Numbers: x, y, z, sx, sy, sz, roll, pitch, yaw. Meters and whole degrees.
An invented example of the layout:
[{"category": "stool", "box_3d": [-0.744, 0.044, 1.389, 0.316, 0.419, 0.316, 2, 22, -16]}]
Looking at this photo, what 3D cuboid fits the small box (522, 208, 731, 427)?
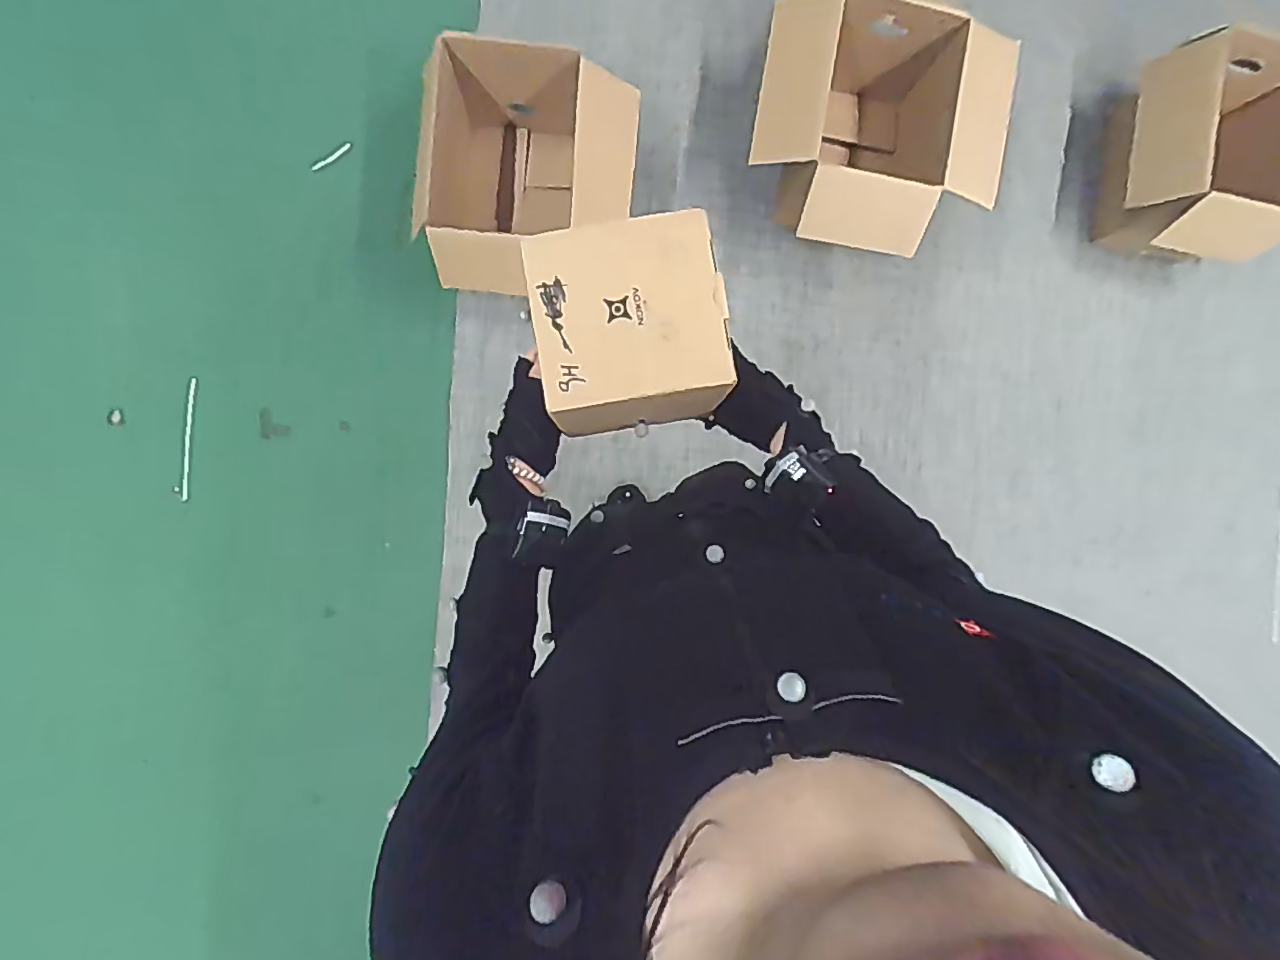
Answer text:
[{"category": "small box", "box_3d": [-0.016, -0.157, 0.572, 0.179, 0.176, 0.168, -8, 87, -2]}]
